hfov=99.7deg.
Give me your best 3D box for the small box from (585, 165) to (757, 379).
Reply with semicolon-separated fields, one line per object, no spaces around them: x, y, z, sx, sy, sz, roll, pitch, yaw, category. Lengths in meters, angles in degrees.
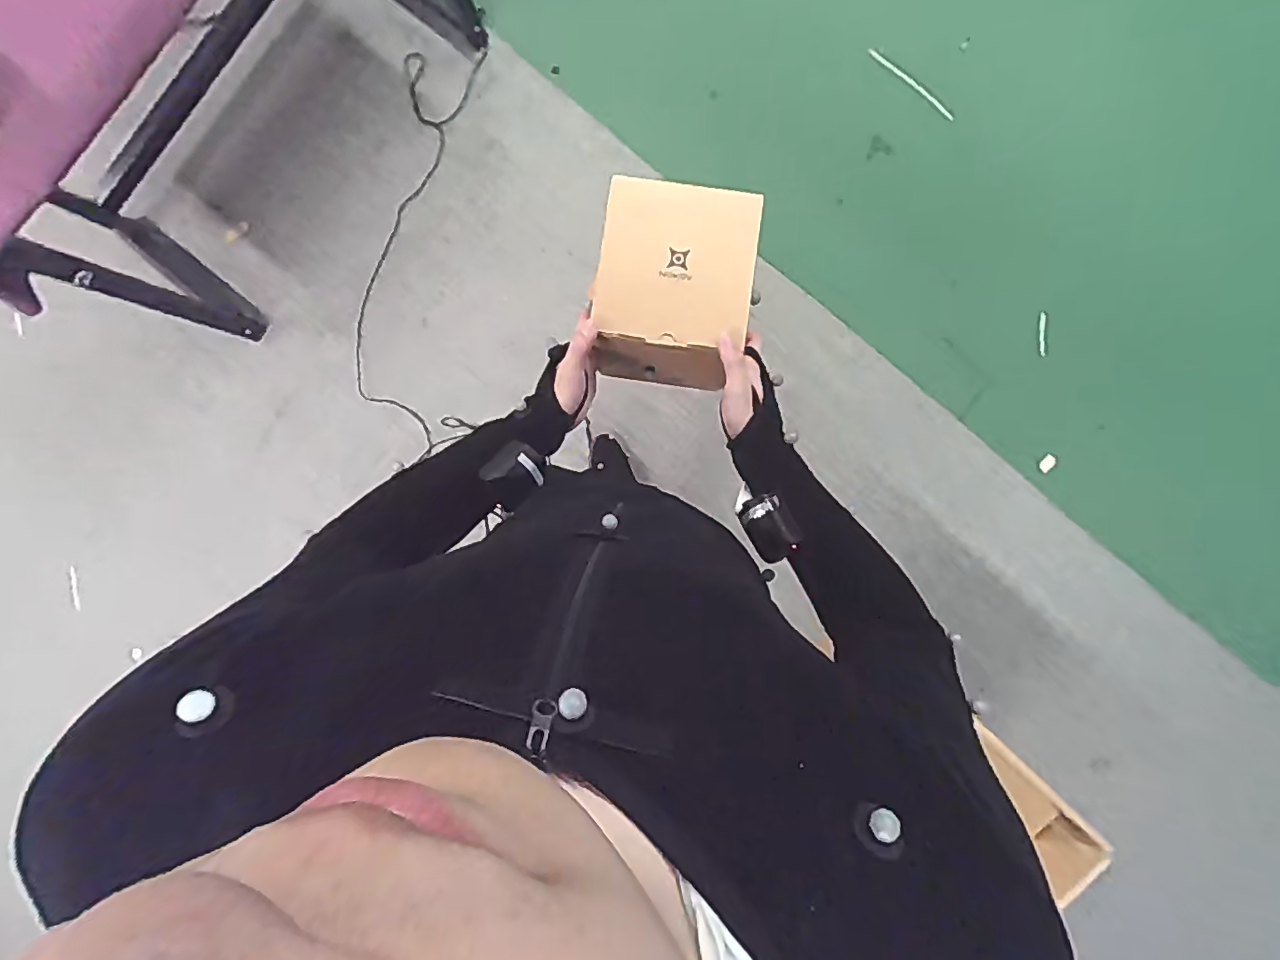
0.032;-0.233;0.645;0.168;0.176;0.179;7;88;0;small box
